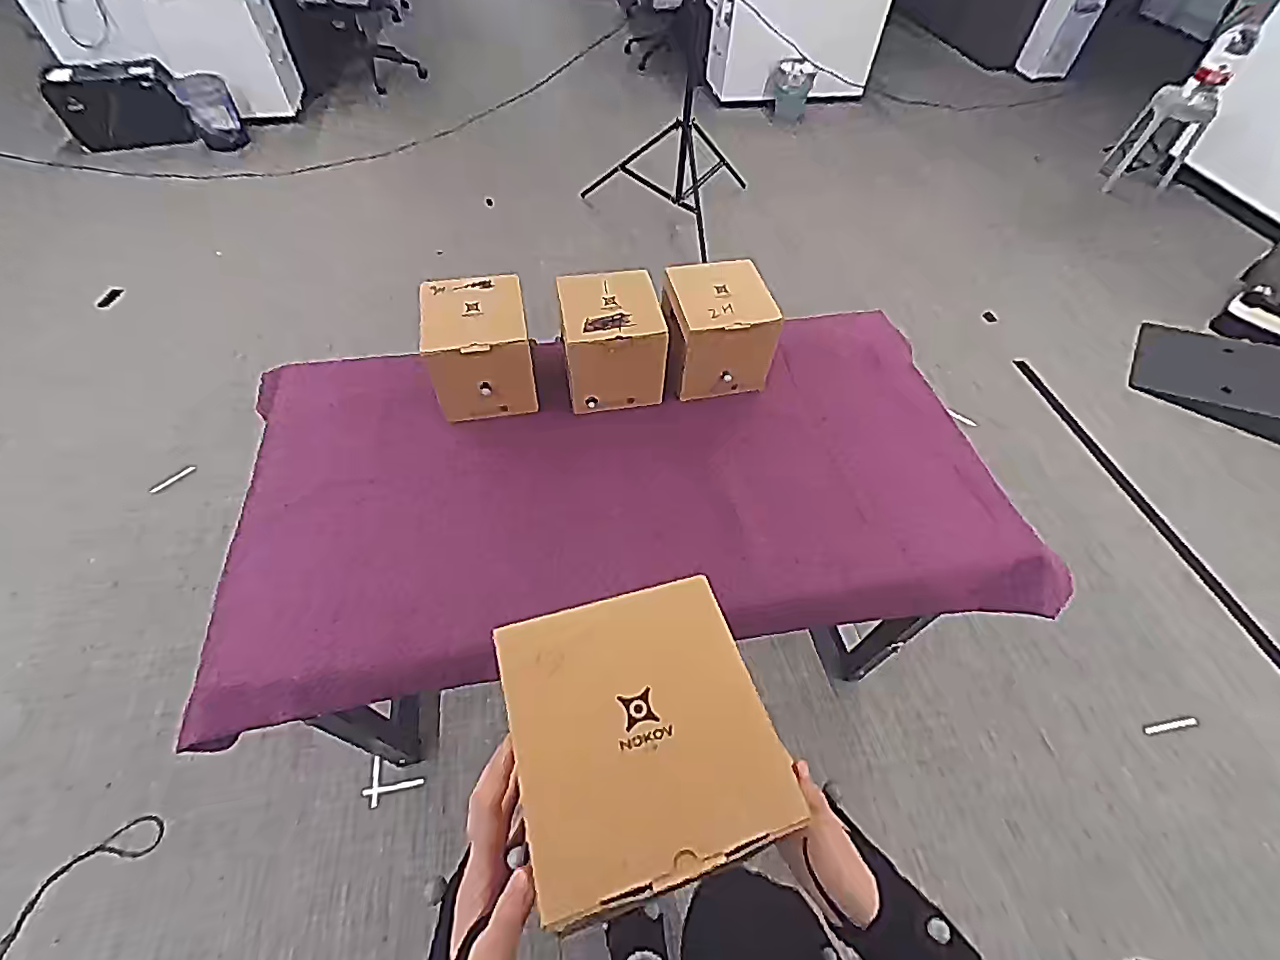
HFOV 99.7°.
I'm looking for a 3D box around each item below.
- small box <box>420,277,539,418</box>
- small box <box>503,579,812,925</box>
[{"bbox_3d":[-0.275,-0.223,0.945,0.168,0.176,0.179,-9,58,-8],"label":"small box"},{"bbox_3d":[-0.004,0.208,0.418,0.168,0.176,0.179,-12,52,-15],"label":"small box"}]
